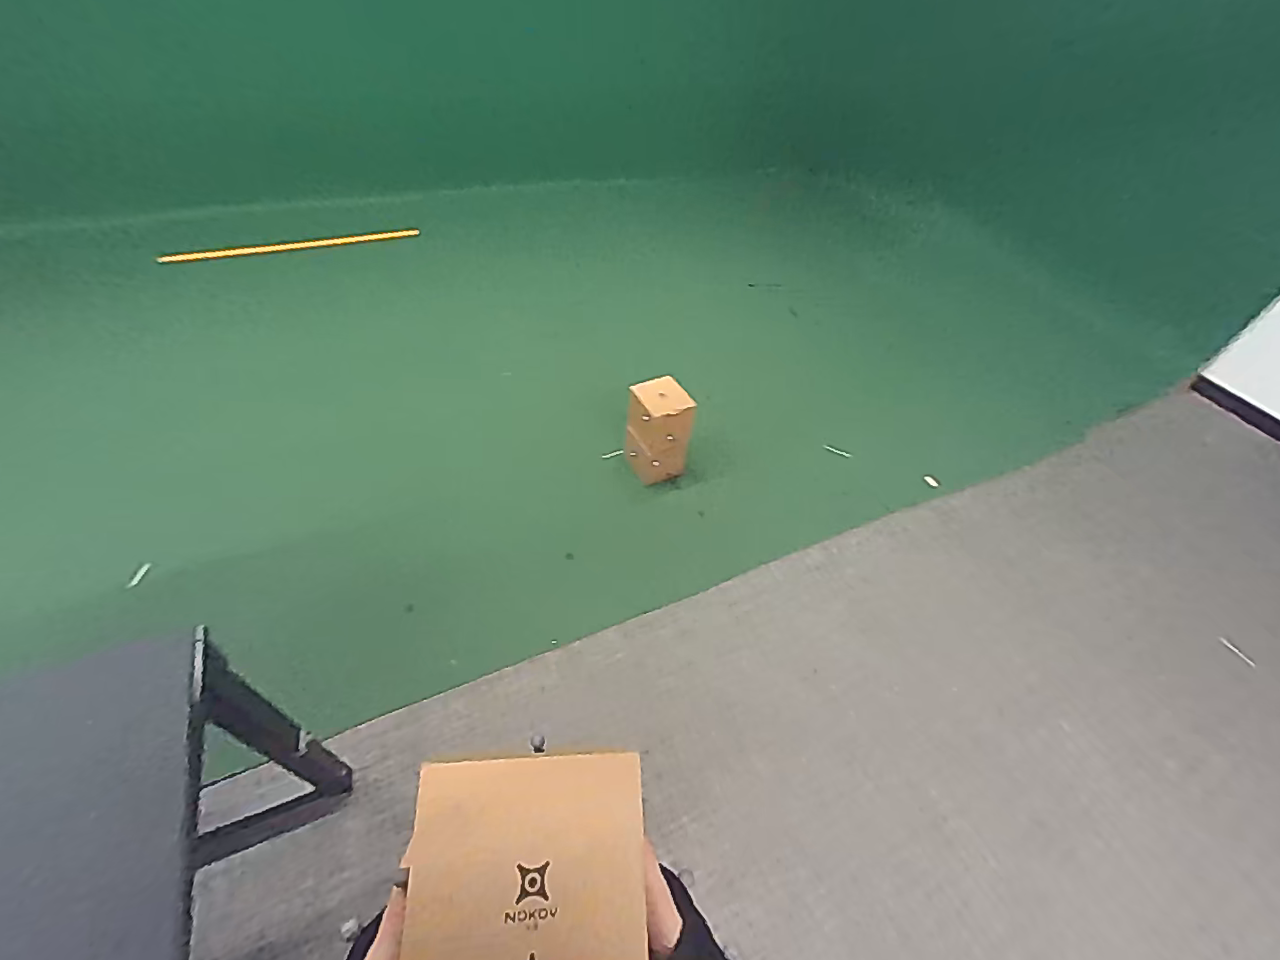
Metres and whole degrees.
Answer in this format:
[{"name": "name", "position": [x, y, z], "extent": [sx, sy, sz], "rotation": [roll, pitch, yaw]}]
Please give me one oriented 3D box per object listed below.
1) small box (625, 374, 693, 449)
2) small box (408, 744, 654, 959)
[{"name": "small box", "position": [0.058, -0.239, 1.891], "extent": [0.168, 0.176, 0.179], "rotation": [-20, 54, -23]}, {"name": "small box", "position": [-0.088, 0.317, 0.446], "extent": [0.168, 0.176, 0.179], "rotation": [4, 64, -12]}]
